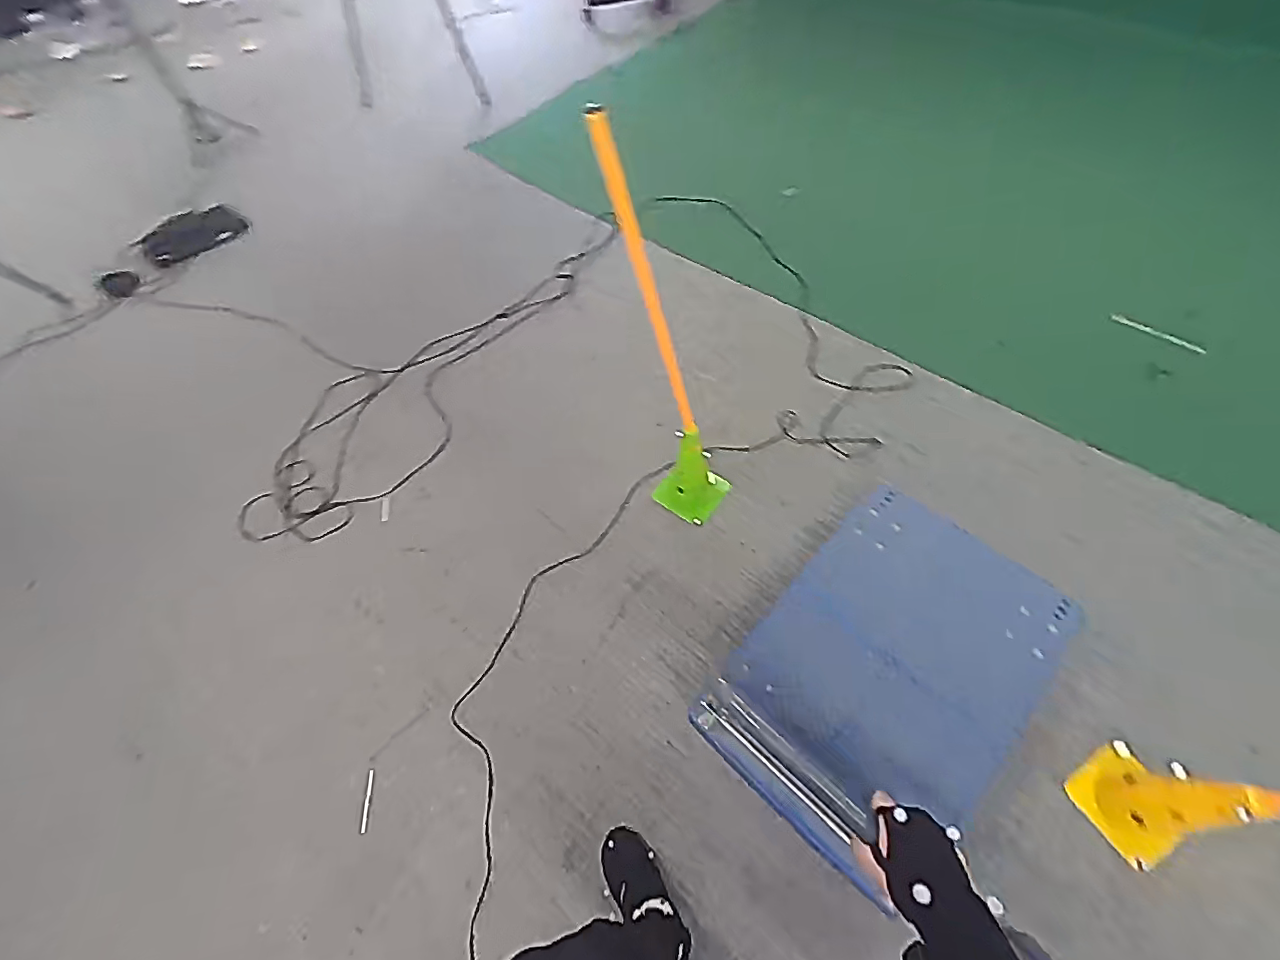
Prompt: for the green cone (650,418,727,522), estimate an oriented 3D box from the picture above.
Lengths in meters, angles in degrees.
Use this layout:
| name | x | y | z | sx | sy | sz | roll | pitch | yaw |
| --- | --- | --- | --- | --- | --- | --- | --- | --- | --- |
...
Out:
| name | x | y | z | sx | sy | sz | roll | pitch | yaw |
| --- | --- | --- | --- | --- | --- | --- | --- | --- | --- |
| green cone | 0.144 | -0.064 | 1.658 | 0.202 | 0.368 | 0.200 | 30 | 66 | 23 |
